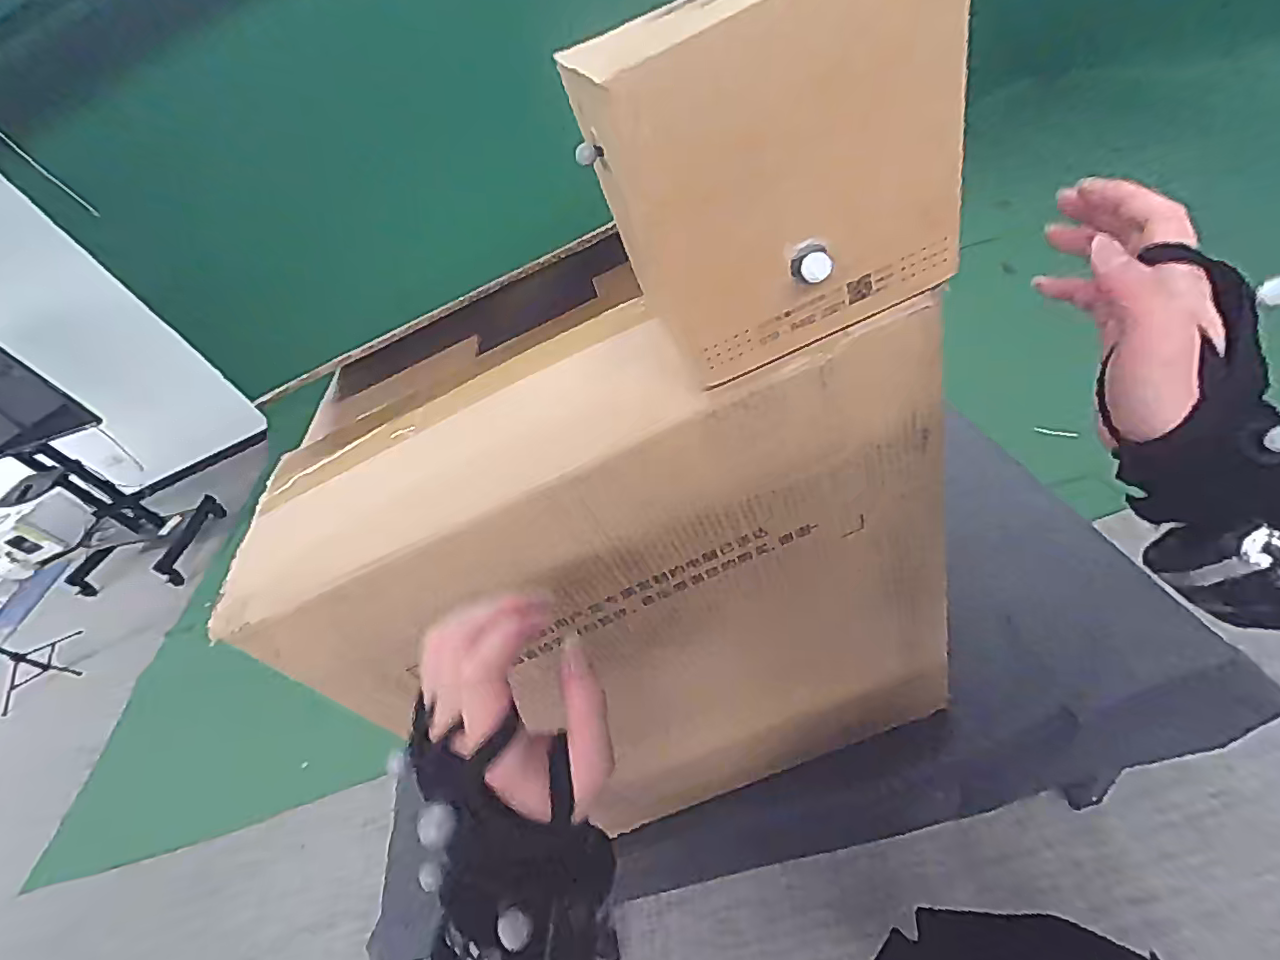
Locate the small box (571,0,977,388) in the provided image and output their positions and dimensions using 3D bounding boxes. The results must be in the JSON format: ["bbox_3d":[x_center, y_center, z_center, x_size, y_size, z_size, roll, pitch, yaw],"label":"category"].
[{"bbox_3d":[0.072,-0.188,0.340,0.168,0.176,0.179,-23,42,5],"label":"small box"}]
